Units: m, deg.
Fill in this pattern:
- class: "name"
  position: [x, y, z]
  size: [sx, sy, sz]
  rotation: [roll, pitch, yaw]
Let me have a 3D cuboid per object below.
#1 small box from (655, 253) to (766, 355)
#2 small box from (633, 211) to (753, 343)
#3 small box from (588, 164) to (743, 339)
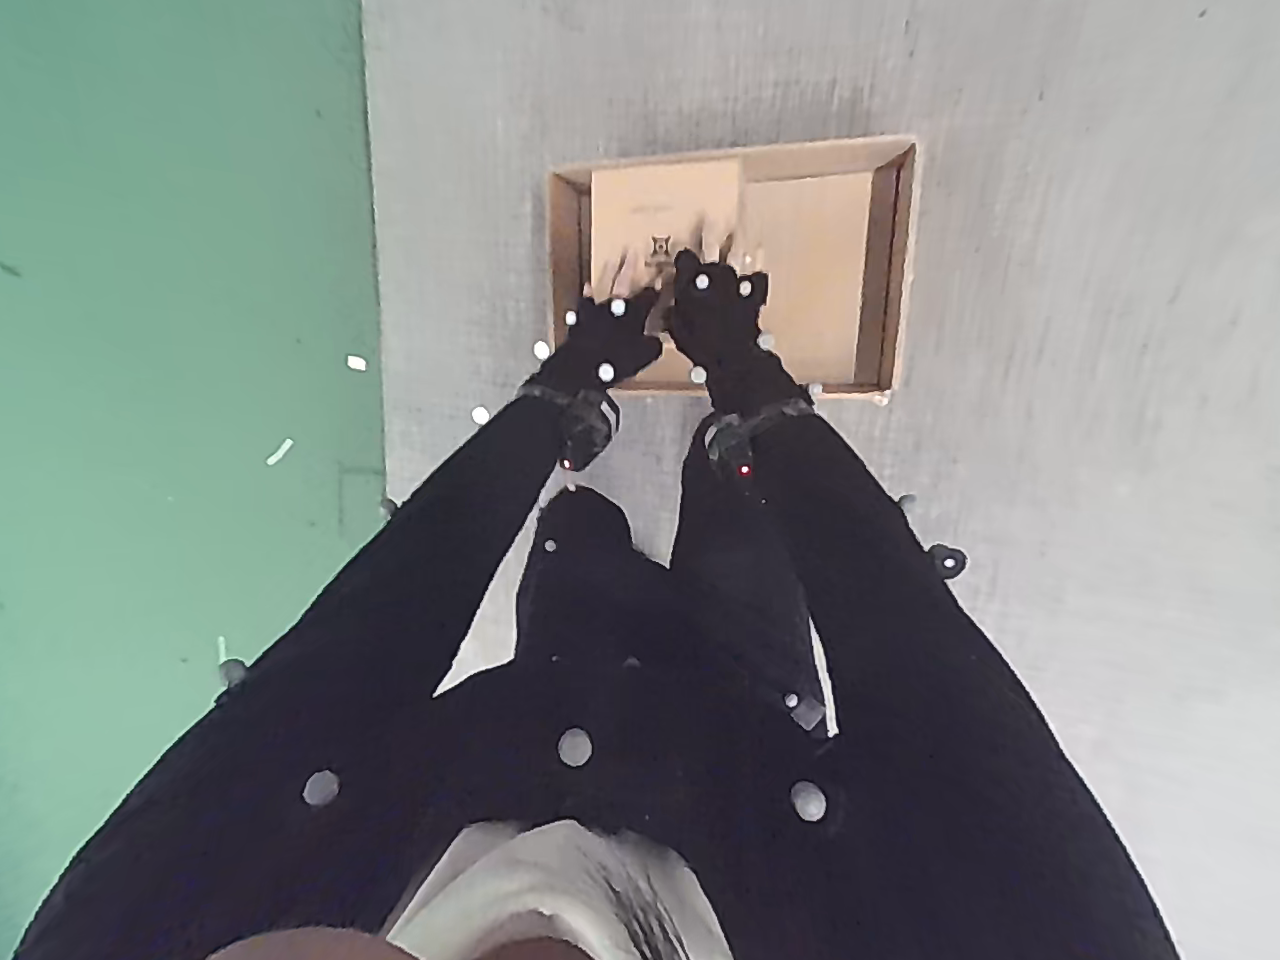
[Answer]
- class: "small box"
  position: [0.138, -0.325, 1.012]
  size: [0.179, 0.176, 0.168]
  rotation: [7, 102, 16]
- class: "small box"
  position: [0.088, -0.310, 0.859]
  size: [0.168, 0.176, 0.179]
  rotation: [2, 101, 17]
- class: "small box"
  position: [0.039, -0.273, 0.688]
  size: [0.168, 0.176, 0.179]
  rotation: [4, 101, 14]
